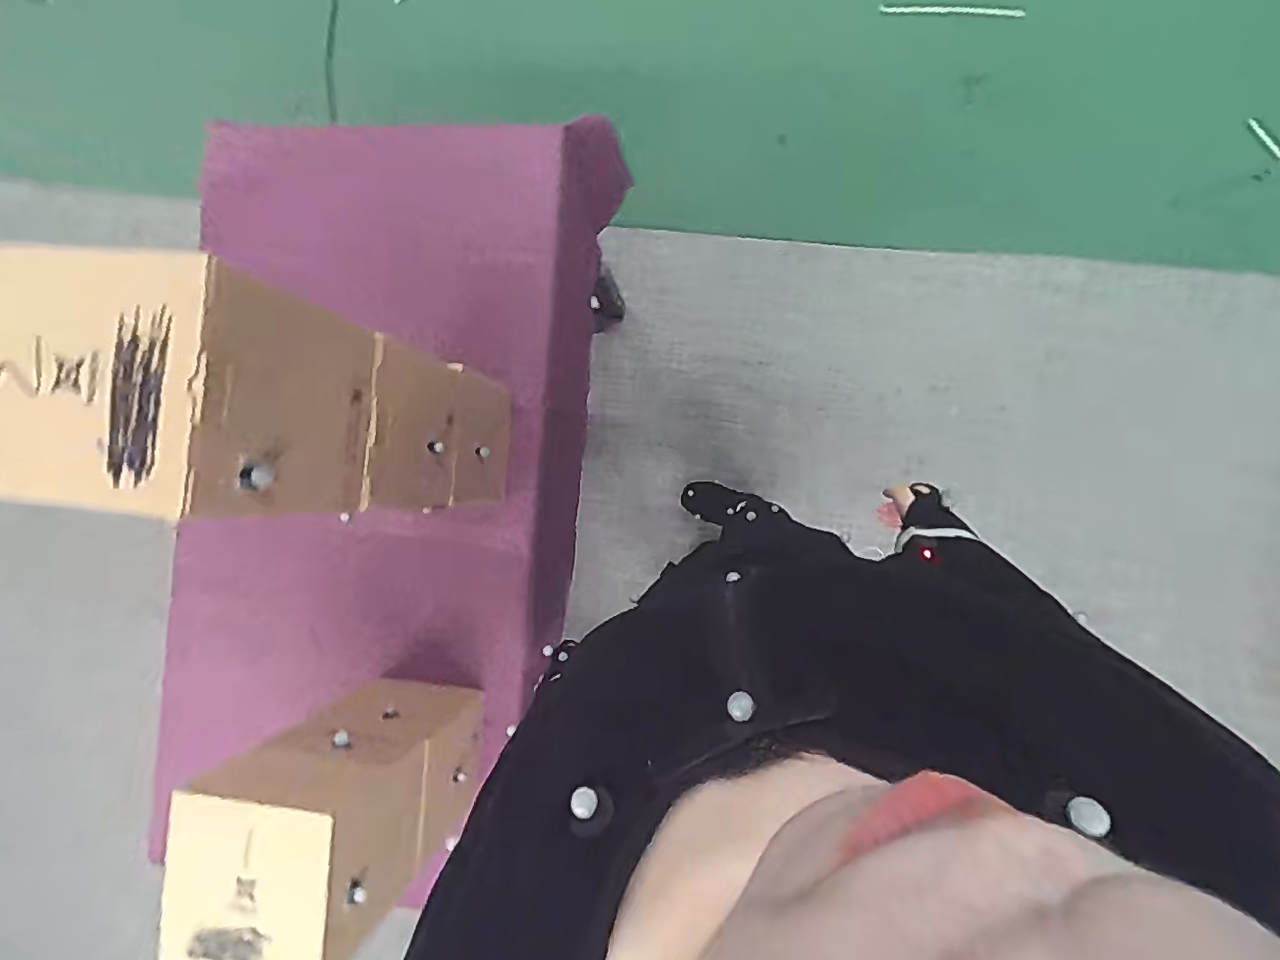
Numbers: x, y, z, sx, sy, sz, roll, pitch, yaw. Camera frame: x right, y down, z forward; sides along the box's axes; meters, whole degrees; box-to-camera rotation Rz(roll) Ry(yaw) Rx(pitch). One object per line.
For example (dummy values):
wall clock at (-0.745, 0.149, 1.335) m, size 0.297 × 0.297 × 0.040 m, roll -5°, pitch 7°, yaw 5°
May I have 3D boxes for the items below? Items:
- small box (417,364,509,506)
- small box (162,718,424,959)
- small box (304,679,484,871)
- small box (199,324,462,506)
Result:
small box at (-0.291, -0.059, 0.748) m, size 0.168 × 0.176 × 0.179 m, roll 3°, pitch 90°, yaw 7°
small box at (-0.352, 0.383, 0.577) m, size 0.168 × 0.176 × 0.179 m, roll 4°, pitch 88°, yaw 7°
small box at (-0.331, 0.387, 0.741) m, size 0.179 × 0.176 × 0.168 m, roll 4°, pitch 88°, yaw 8°
small box at (-0.319, -0.060, 0.587) m, size 0.179 × 0.176 × 0.168 m, roll 4°, pitch 89°, yaw 7°
